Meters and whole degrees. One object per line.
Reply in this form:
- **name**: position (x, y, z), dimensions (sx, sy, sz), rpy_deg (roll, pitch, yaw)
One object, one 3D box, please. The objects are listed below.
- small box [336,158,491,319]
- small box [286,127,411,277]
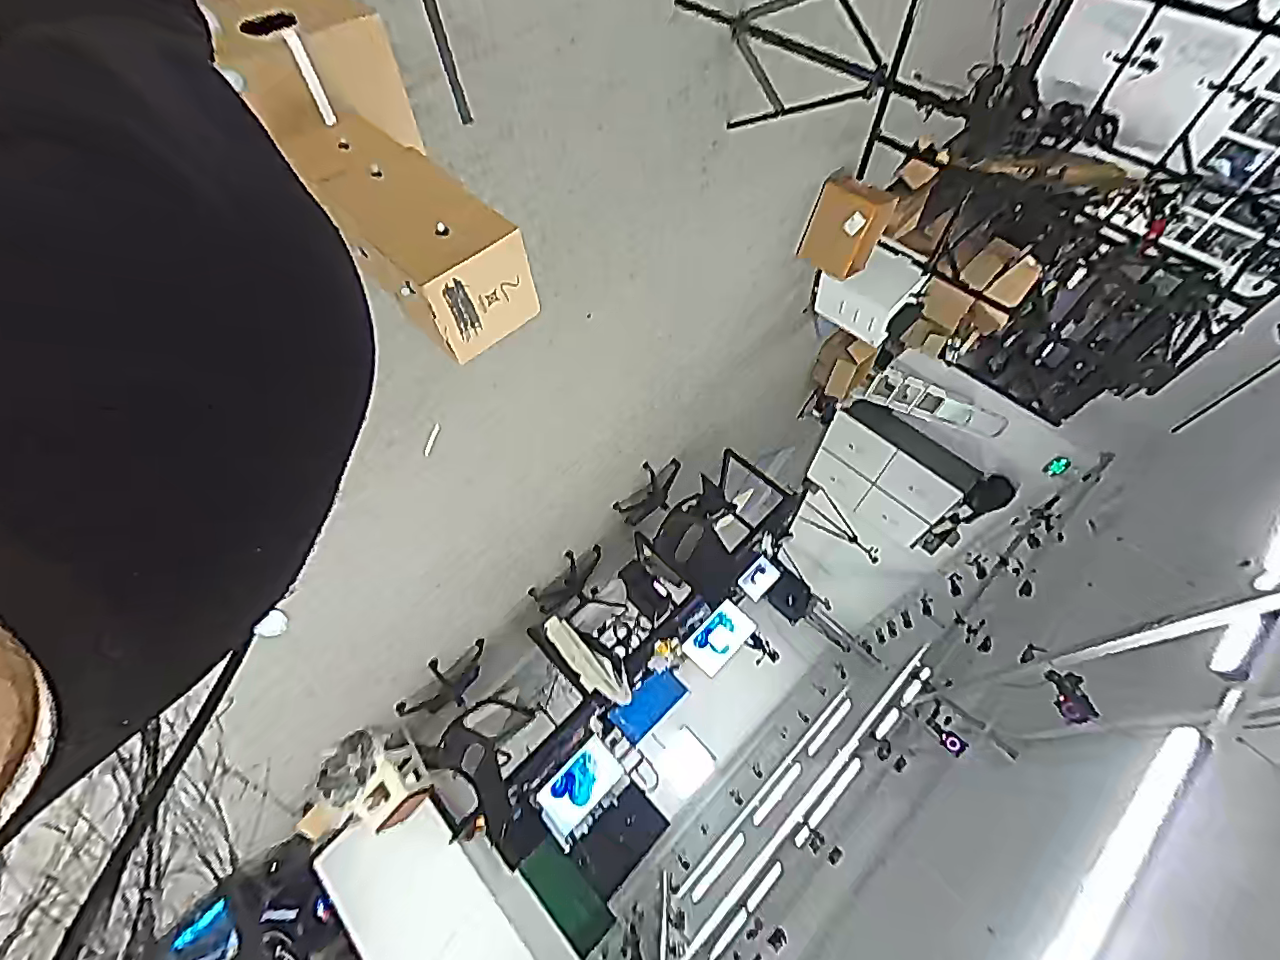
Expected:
- **small box**: position (-0.396, -0.423, 0.945), dimensions (0.179, 0.176, 0.168), rpy_deg (-39, 156, -20)
- **small box**: position (-0.517, -0.517, 1.003), dimensions (0.179, 0.176, 0.168), rpy_deg (-39, 156, -23)
